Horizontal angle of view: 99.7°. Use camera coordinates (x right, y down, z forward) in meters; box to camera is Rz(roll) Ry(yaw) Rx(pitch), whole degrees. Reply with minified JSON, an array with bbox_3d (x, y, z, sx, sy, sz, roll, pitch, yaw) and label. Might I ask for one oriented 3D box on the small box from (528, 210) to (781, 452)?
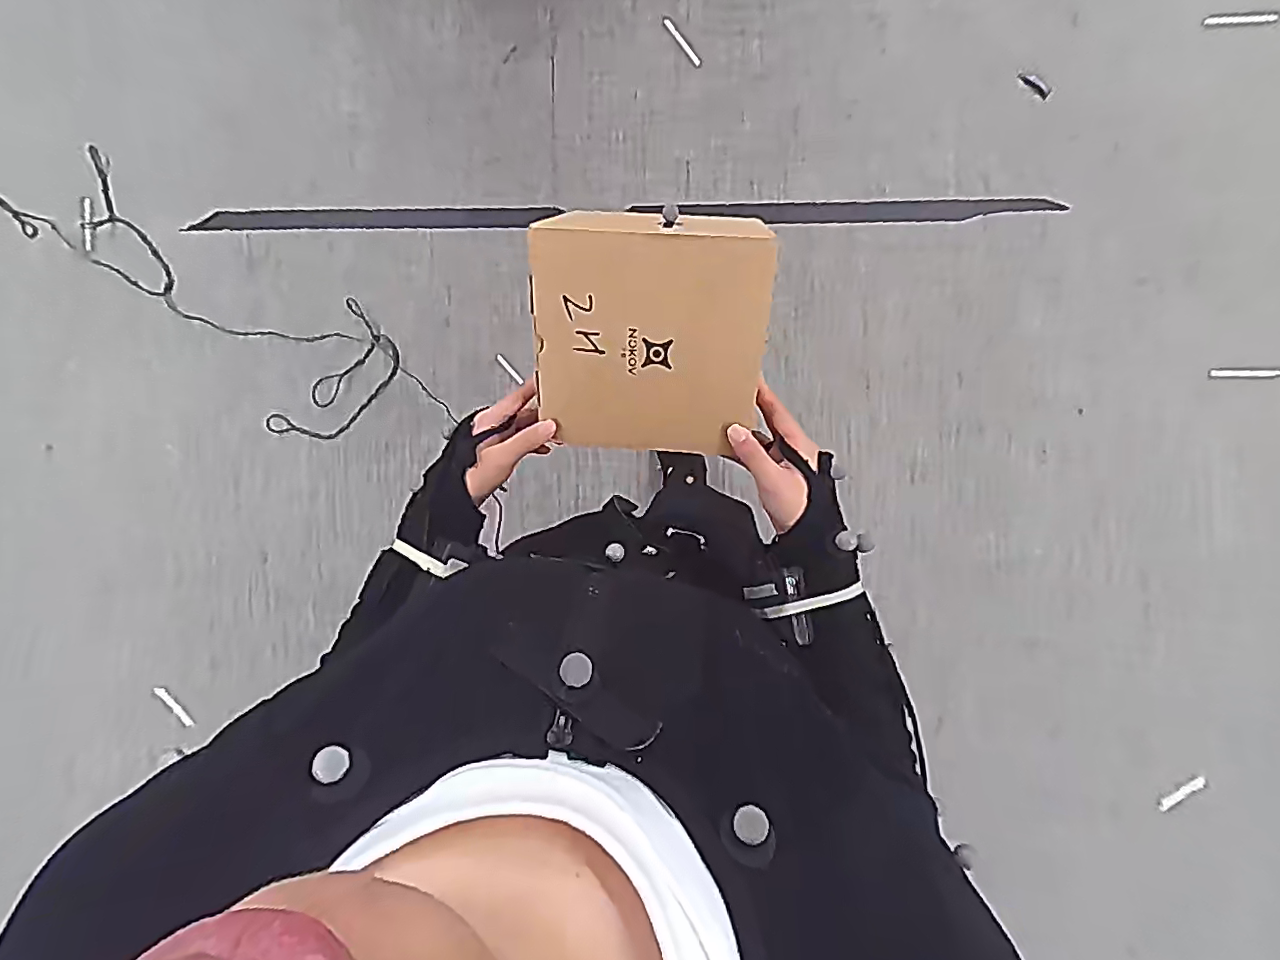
[{"bbox_3d":[0.013,-0.138,0.473,0.179,0.176,0.168,5,119,4],"label":"small box"}]
